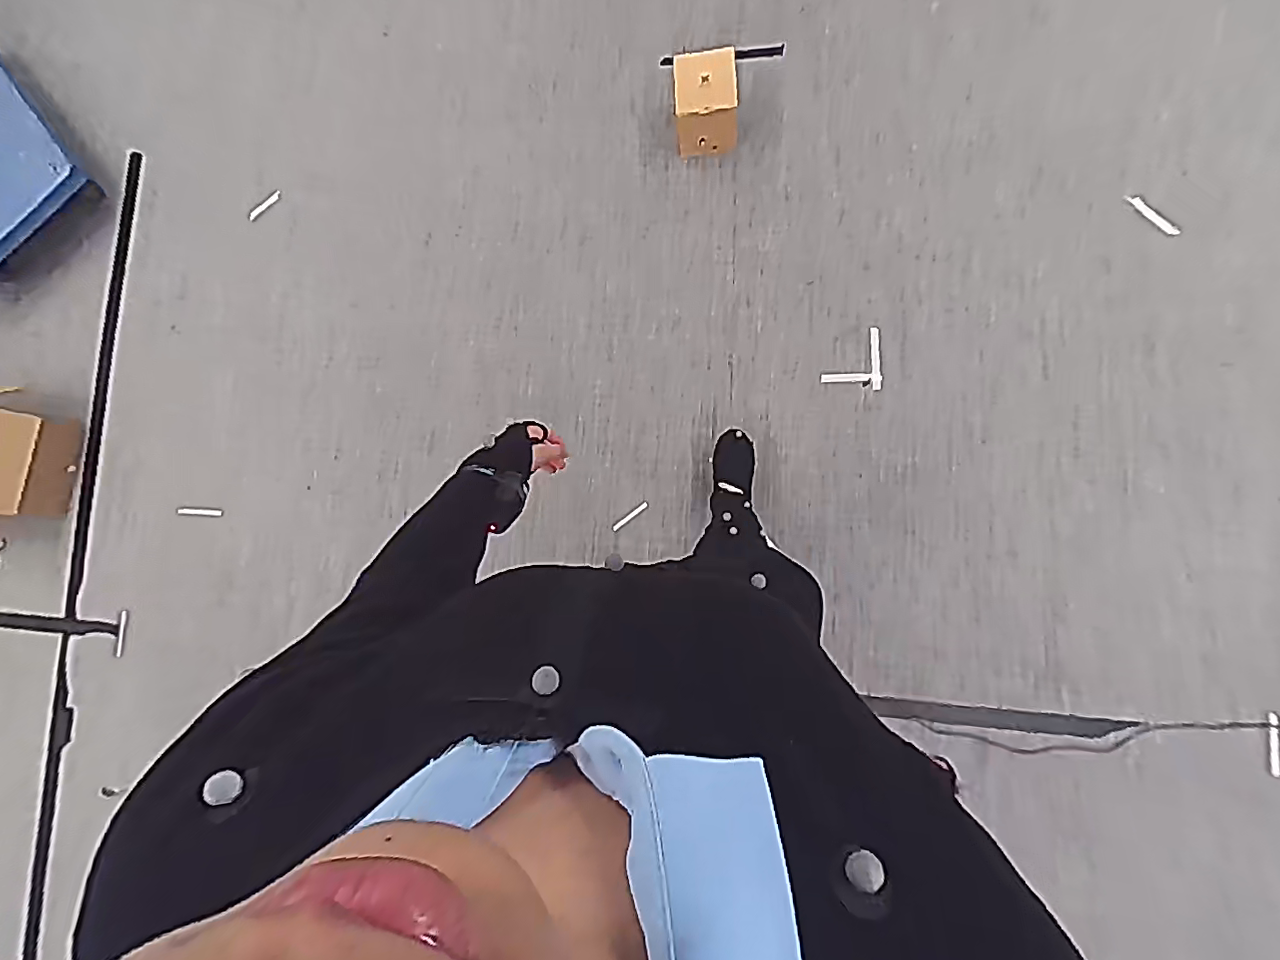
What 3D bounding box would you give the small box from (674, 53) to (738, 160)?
[{"bbox_3d":[0.184,-1.045,1.523,0.168,0.176,0.179,-4,84,7],"label":"small box"}]
